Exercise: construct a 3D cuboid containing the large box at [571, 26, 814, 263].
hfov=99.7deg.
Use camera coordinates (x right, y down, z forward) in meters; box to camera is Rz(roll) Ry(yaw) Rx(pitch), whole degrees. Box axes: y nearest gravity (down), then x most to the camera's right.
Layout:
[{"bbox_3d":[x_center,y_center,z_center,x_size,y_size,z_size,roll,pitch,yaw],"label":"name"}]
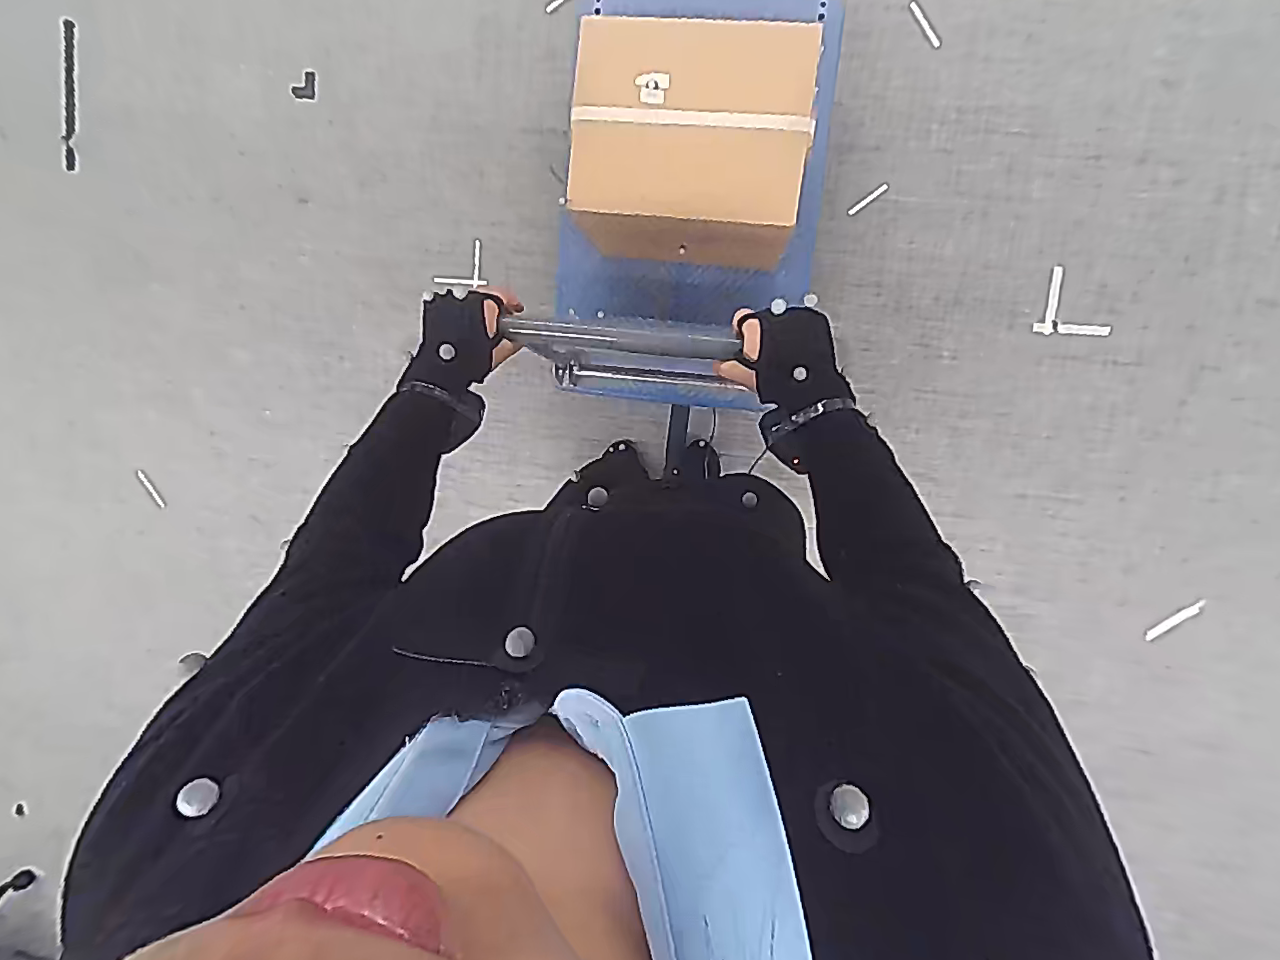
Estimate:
[{"bbox_3d":[0.104,-0.638,1.083,0.408,0.320,0.320,7,98,7],"label":"large box"}]
